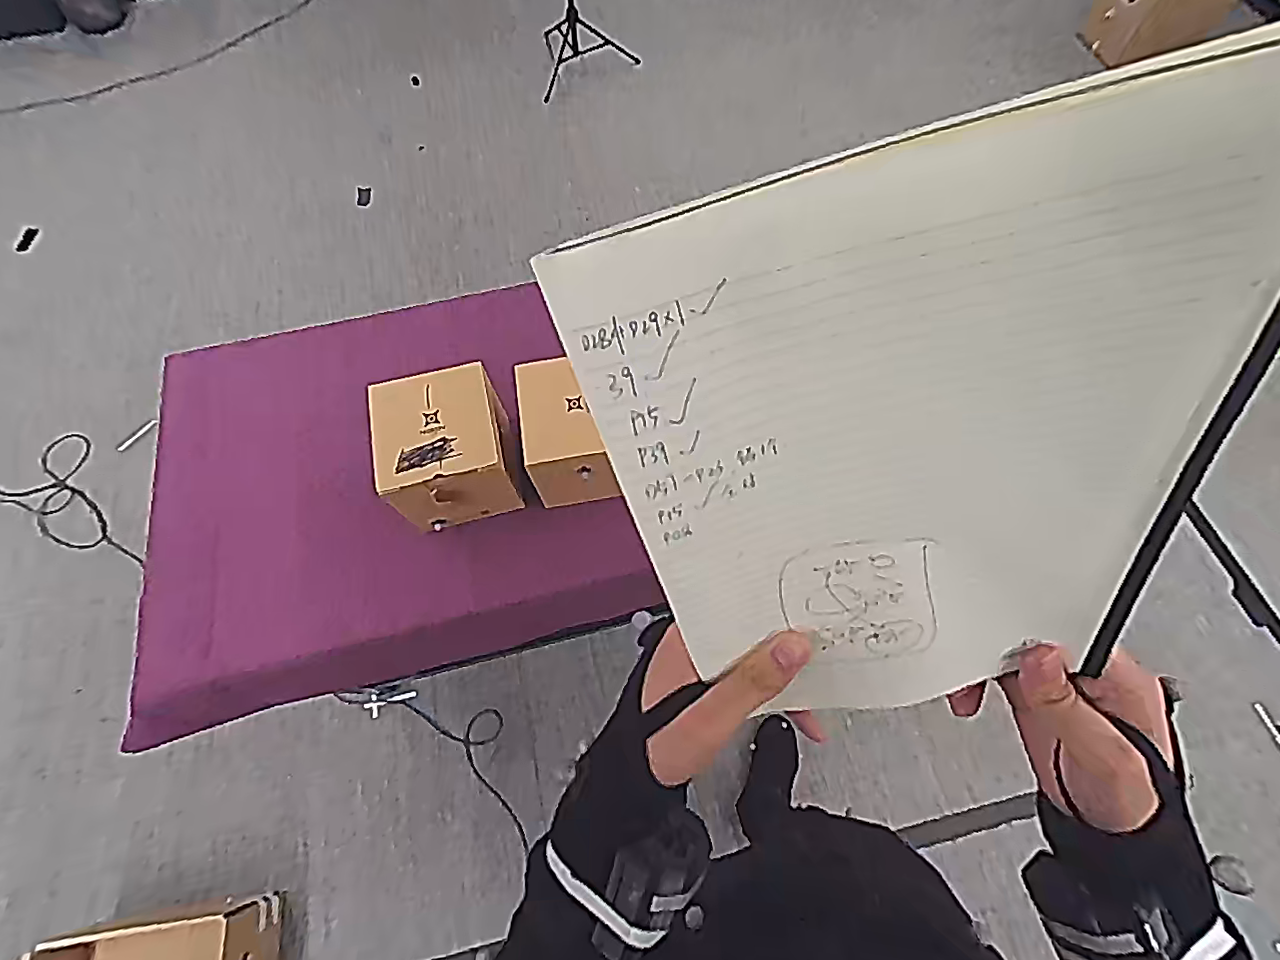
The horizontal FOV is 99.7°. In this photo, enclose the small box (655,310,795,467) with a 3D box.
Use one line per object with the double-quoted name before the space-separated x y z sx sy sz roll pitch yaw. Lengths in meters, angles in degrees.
"small box" 0.122 -0.133 0.851 0.168 0.176 0.179 -12 66 -5
